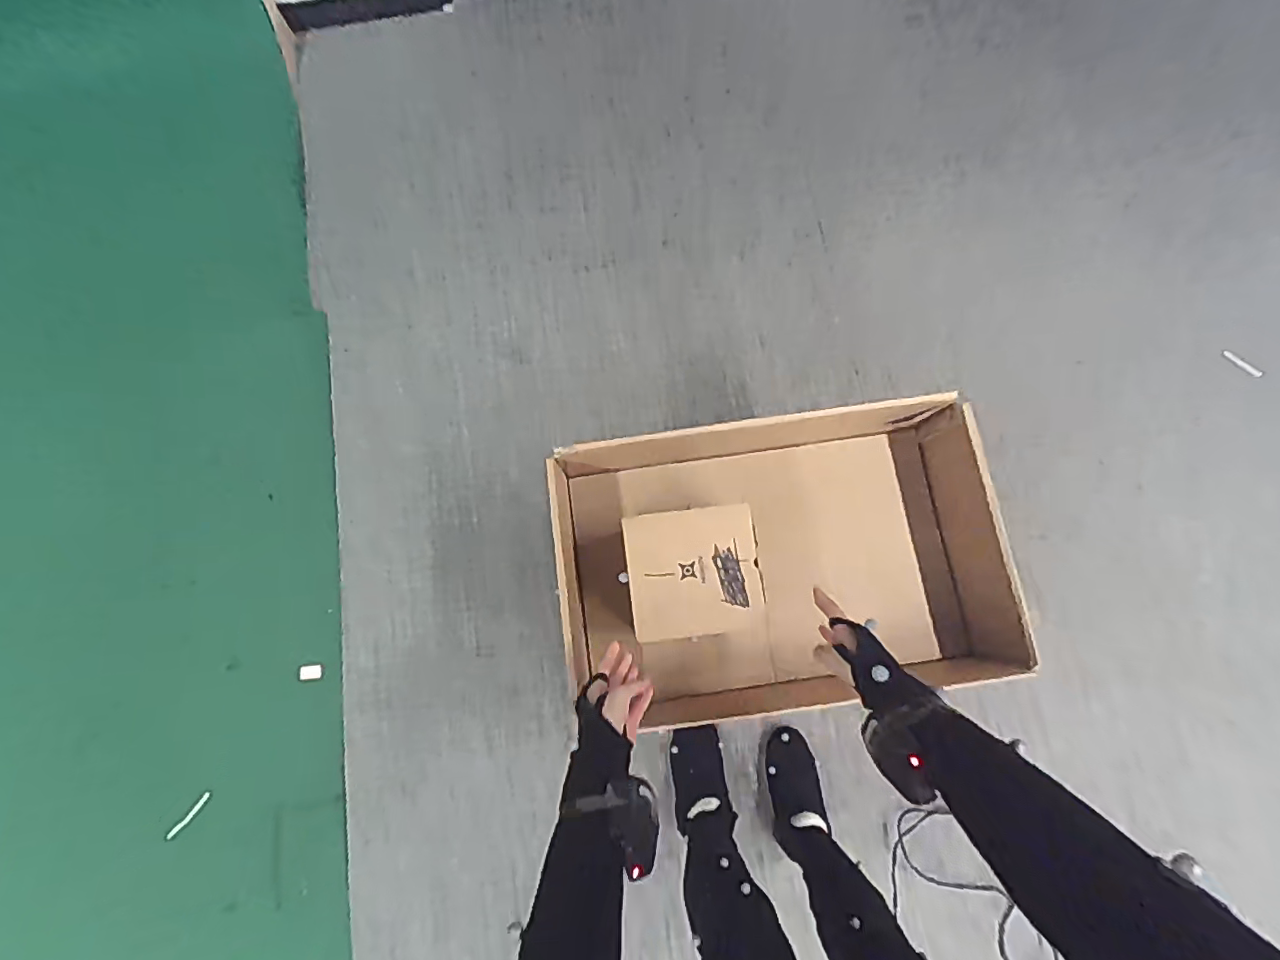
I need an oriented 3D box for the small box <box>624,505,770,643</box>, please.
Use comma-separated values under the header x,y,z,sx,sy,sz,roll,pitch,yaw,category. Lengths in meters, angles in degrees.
x,y,z,sx,sy,sz,roll,pitch,yaw,category
0.073,0.136,0.783,0.179,0.176,0.168,-7,78,0,small box
